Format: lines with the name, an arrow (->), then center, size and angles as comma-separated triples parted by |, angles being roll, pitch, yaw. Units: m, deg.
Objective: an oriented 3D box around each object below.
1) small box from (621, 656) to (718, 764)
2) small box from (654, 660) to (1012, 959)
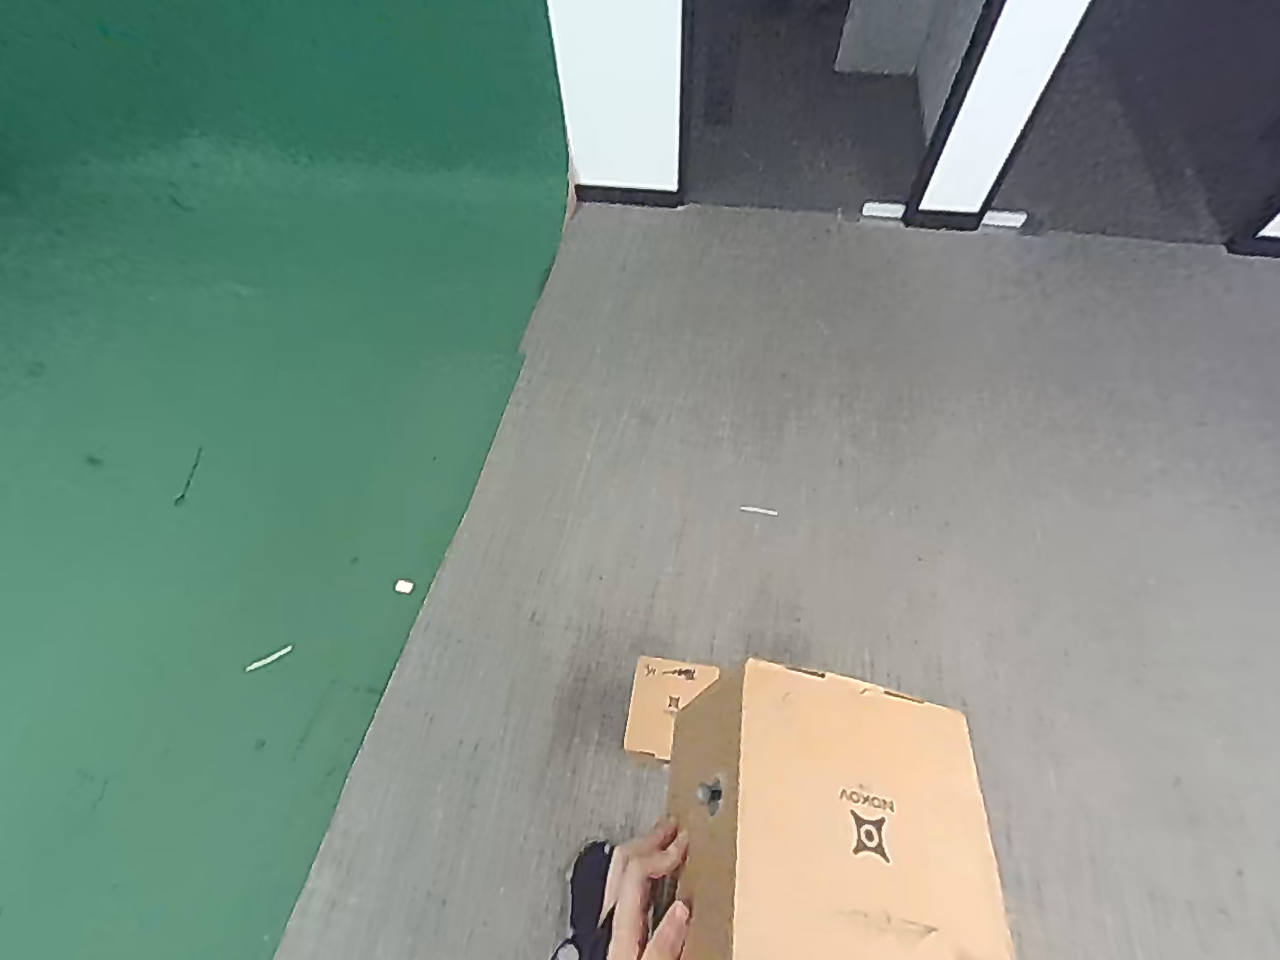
small box -> 0.063, 0.475, 1.098 | 0.168, 0.176, 0.179 | 7, 61, 7
small box -> 0.118, 0.257, 0.386 | 0.168, 0.176, 0.179 | 17, 52, -5
